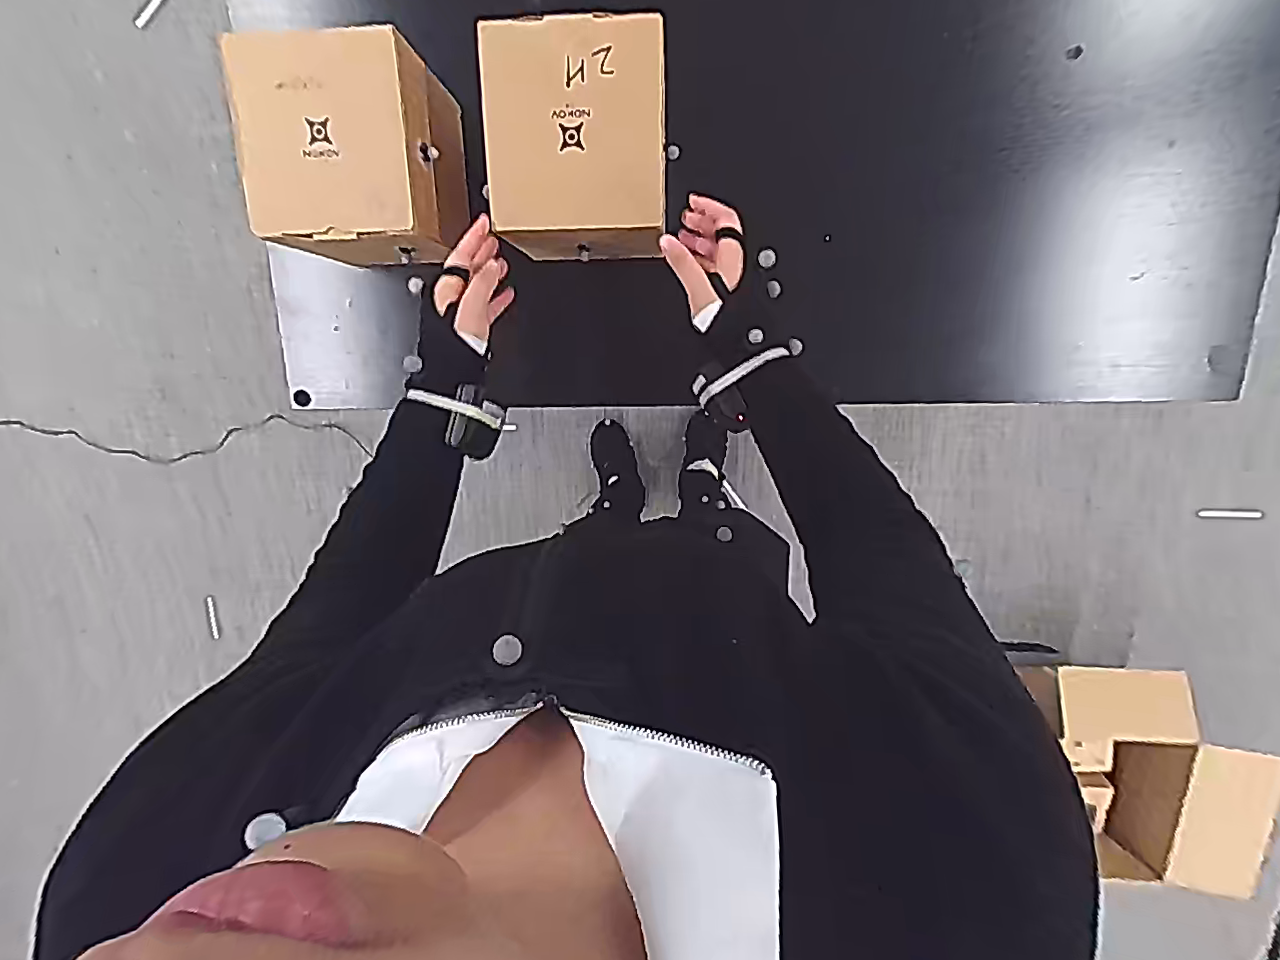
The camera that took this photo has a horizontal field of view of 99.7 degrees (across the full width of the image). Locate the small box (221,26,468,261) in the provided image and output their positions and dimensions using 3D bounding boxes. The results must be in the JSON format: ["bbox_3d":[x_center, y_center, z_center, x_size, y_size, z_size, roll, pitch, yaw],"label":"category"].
[{"bbox_3d":[-0.298,-0.342,0.588,0.168,0.176,0.179,-1,102,2],"label":"small box"}]

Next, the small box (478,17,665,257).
[{"bbox_3d":[-0.058,-0.339,0.572,0.168,0.176,0.179,0,103,3],"label":"small box"}]
